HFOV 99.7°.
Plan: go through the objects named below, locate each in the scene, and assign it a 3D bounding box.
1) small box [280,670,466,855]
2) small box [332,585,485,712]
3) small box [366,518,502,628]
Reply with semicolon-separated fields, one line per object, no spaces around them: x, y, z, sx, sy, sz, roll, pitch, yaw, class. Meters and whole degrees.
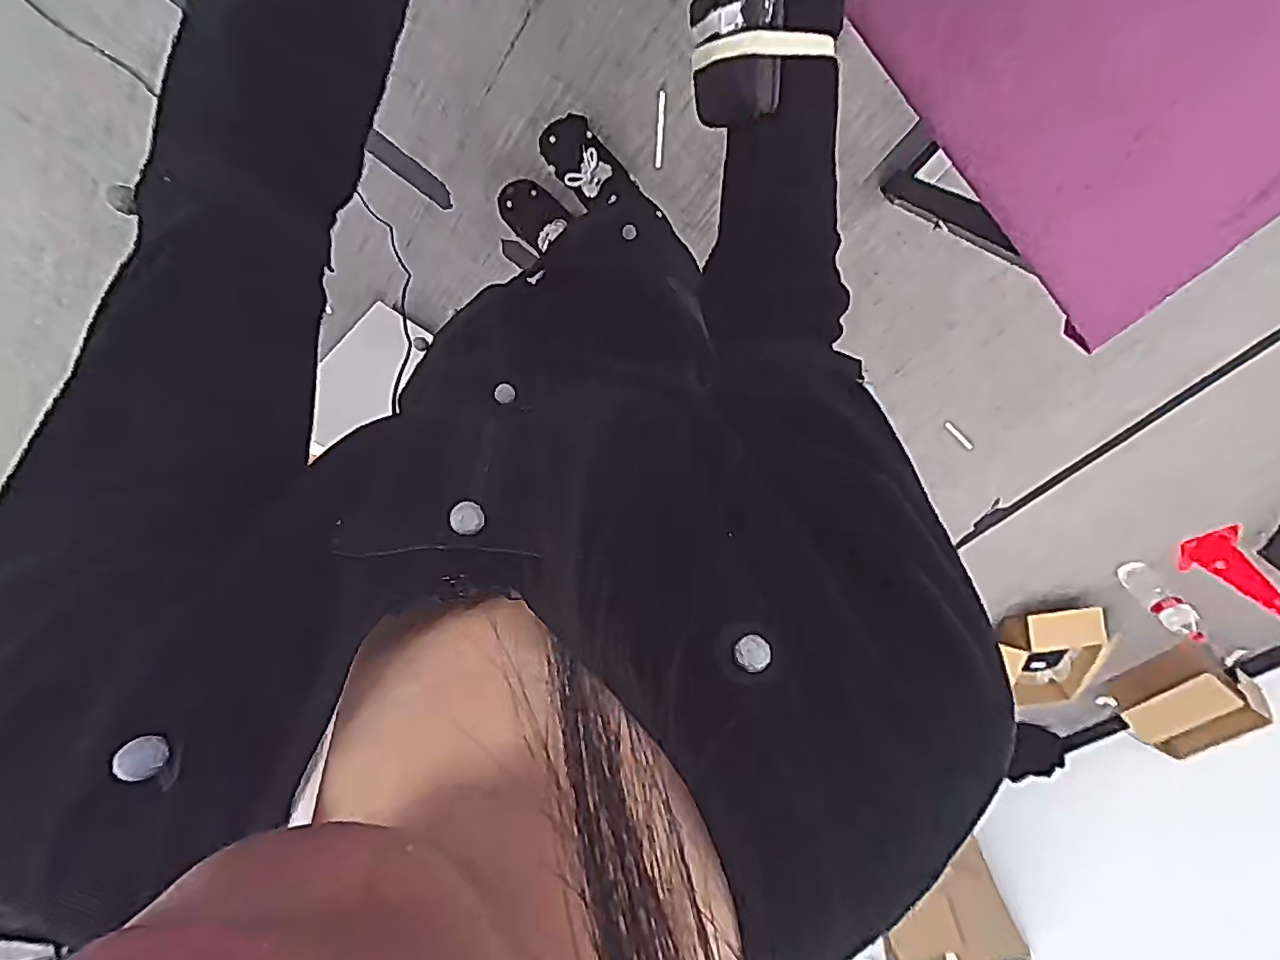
-0.374;0.409;0.786;0.168;0.176;0.179;31;120;-25;small box
-0.379;0.308;0.913;0.168;0.176;0.179;32;121;-25;small box
-0.386;0.208;1.042;0.168;0.176;0.179;34;120;-25;small box
